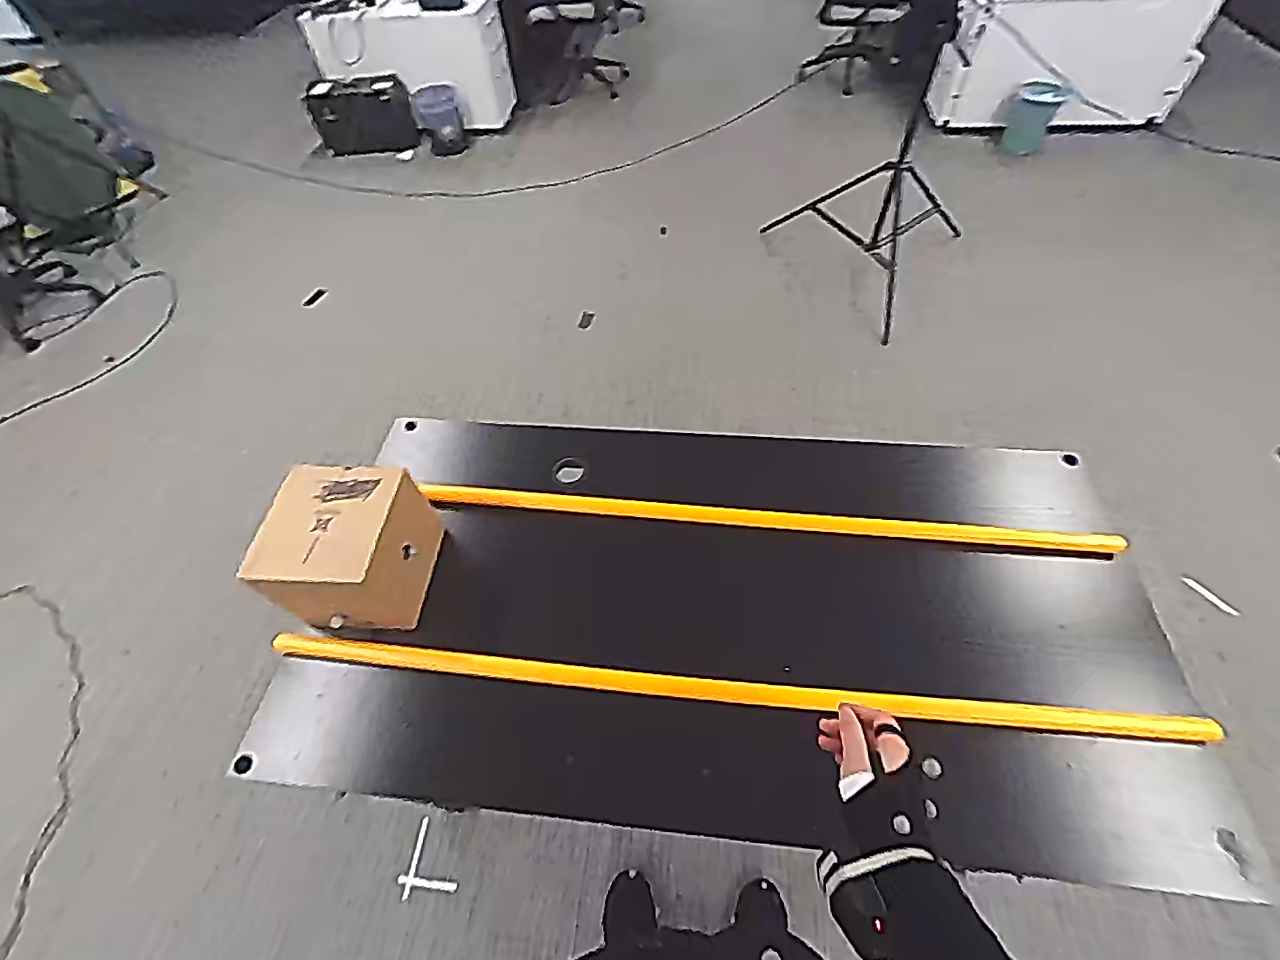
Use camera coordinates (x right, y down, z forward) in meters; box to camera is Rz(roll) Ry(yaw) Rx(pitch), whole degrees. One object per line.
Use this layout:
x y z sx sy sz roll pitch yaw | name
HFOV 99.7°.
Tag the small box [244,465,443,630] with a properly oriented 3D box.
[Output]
-0.401 0.098 0.775 0.168 0.176 0.179 1 56 4 | small box
